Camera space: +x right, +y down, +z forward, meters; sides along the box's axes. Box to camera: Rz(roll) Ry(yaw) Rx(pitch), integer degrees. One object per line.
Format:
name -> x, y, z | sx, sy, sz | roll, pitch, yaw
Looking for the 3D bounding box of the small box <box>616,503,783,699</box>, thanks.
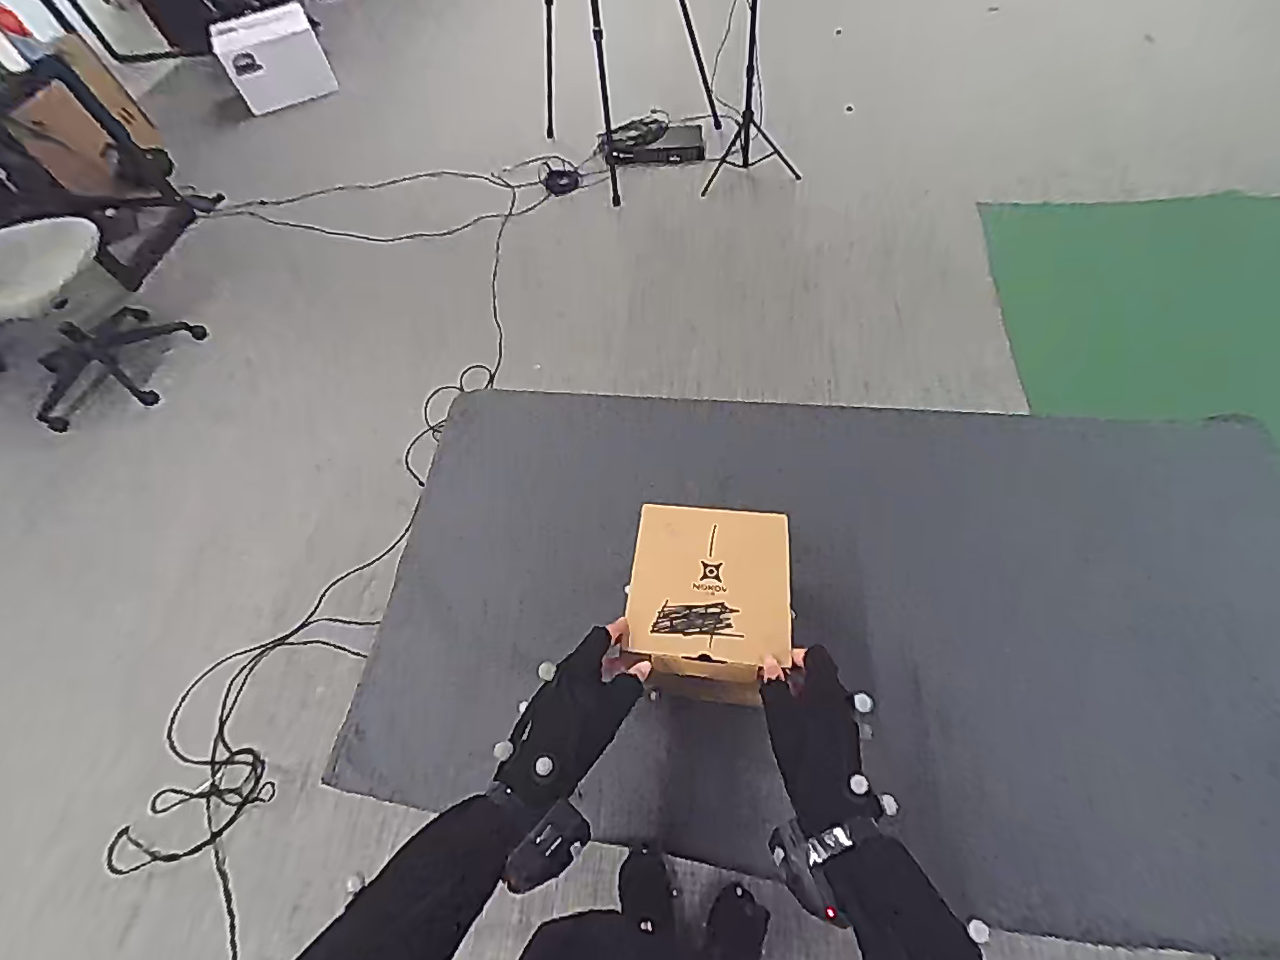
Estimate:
small box -> 0.075, 0.147, 0.637 | 0.168, 0.176, 0.179 | 4, 57, 8
